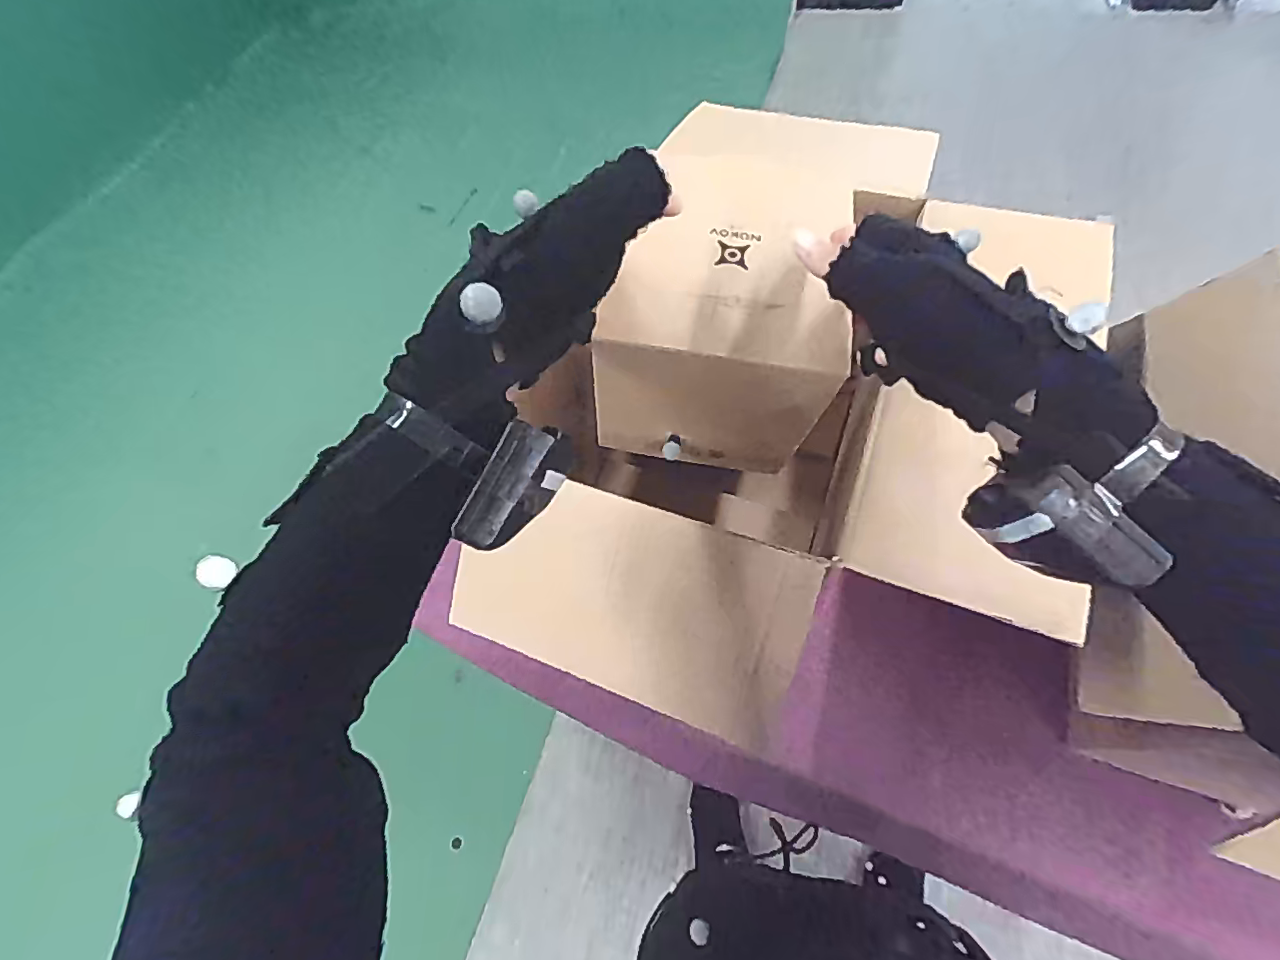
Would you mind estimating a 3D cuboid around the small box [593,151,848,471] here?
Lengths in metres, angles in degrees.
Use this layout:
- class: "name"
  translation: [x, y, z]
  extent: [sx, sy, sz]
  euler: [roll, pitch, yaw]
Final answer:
- class: "small box"
  translation: [0.059, -0.129, 0.453]
  extent: [0.168, 0.176, 0.179]
  euler: [10, 68, 2]
